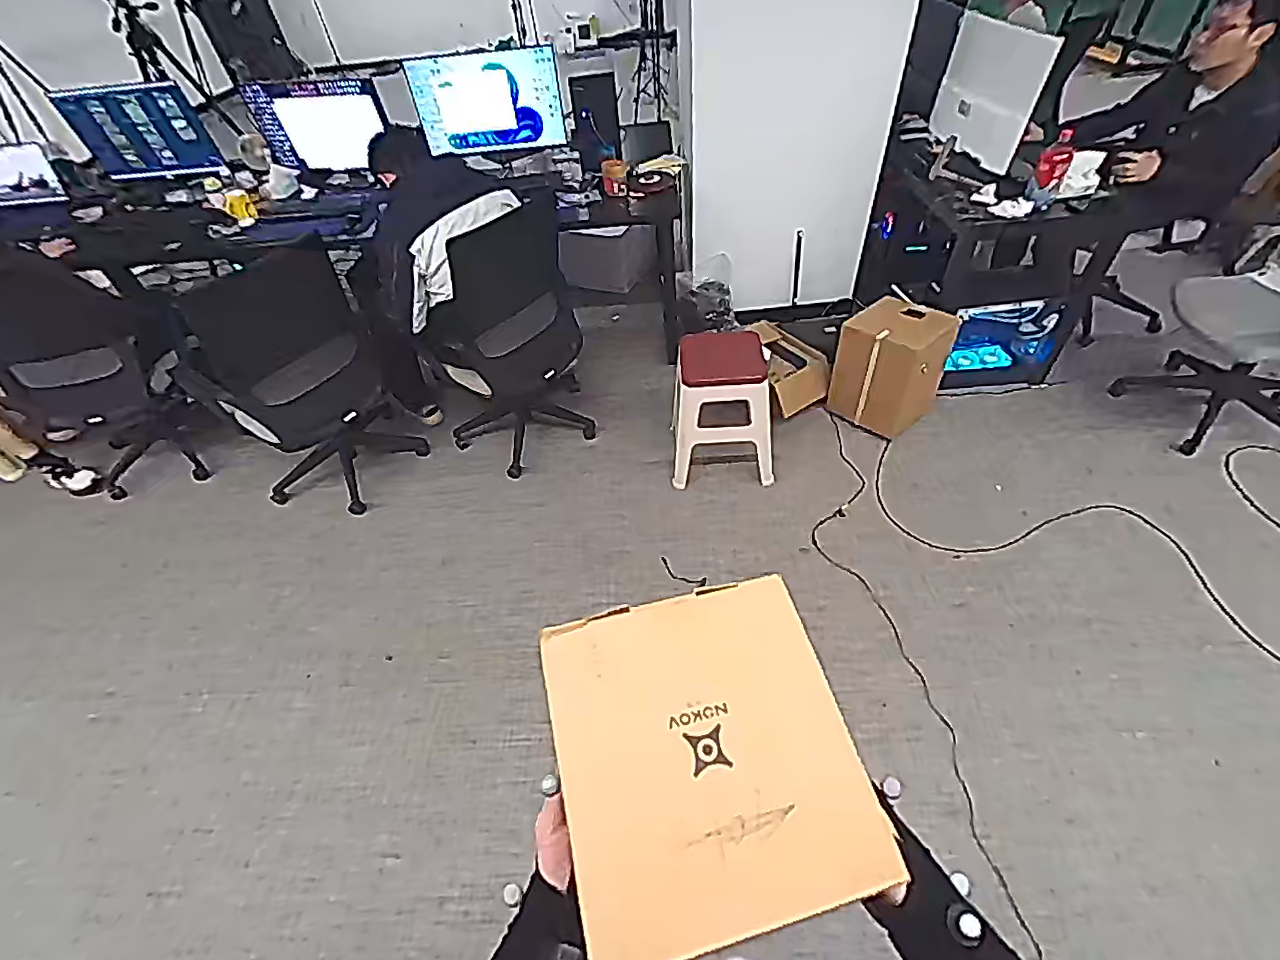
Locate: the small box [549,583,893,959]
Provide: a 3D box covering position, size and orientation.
[{"bbox_3d":[0.033,0.198,0.384,0.168,0.176,0.179,-10,58,-9],"label":"small box"}]
